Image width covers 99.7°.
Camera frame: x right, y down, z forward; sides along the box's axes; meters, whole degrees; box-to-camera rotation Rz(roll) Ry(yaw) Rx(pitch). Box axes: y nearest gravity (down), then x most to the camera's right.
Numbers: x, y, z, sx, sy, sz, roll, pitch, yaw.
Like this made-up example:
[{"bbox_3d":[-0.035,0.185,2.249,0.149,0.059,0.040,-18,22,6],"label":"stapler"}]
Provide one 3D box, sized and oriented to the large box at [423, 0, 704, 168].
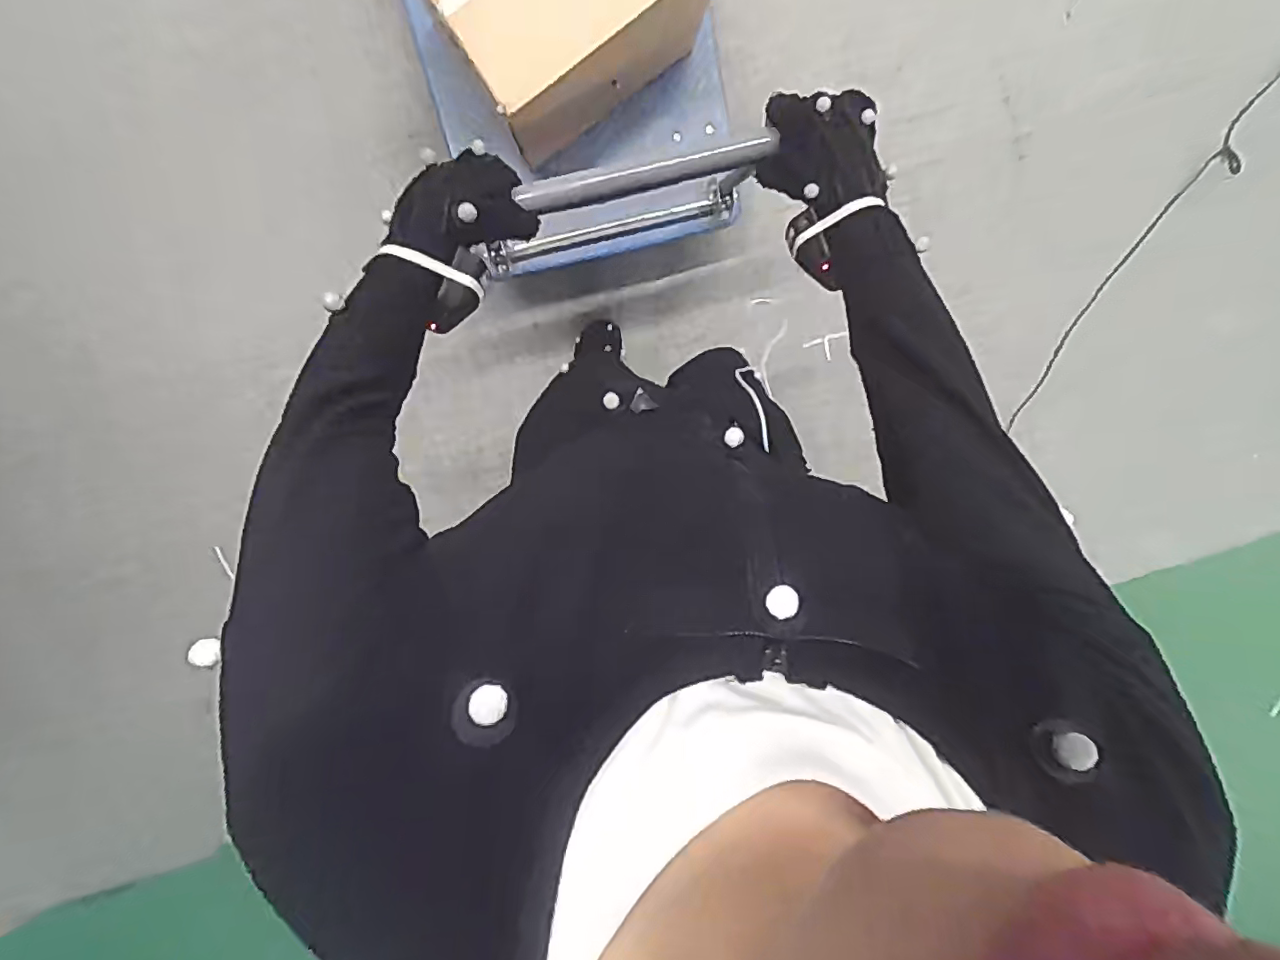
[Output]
[{"bbox_3d":[-0.131,-0.834,0.926,0.408,0.320,0.320,-35,104,7],"label":"large box"}]
